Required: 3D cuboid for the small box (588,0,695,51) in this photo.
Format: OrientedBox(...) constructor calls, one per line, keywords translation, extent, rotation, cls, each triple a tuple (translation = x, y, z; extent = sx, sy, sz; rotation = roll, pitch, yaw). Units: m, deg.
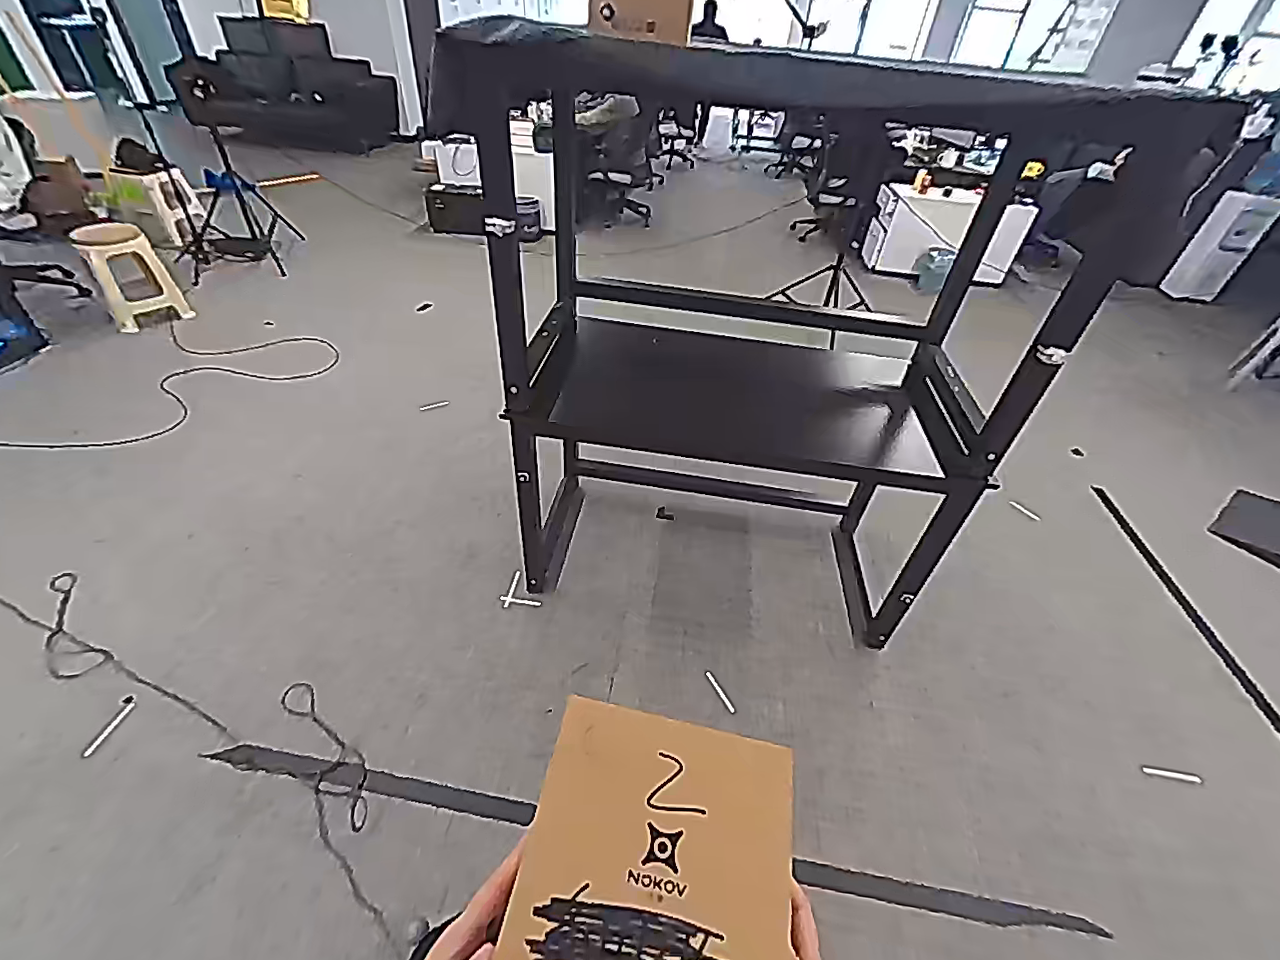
OrientedBox(translation=(0.009, -0.818, 0.888), extent=(0.168, 0.176, 0.179), rotation=(8, 38, 0), cls="small box")
